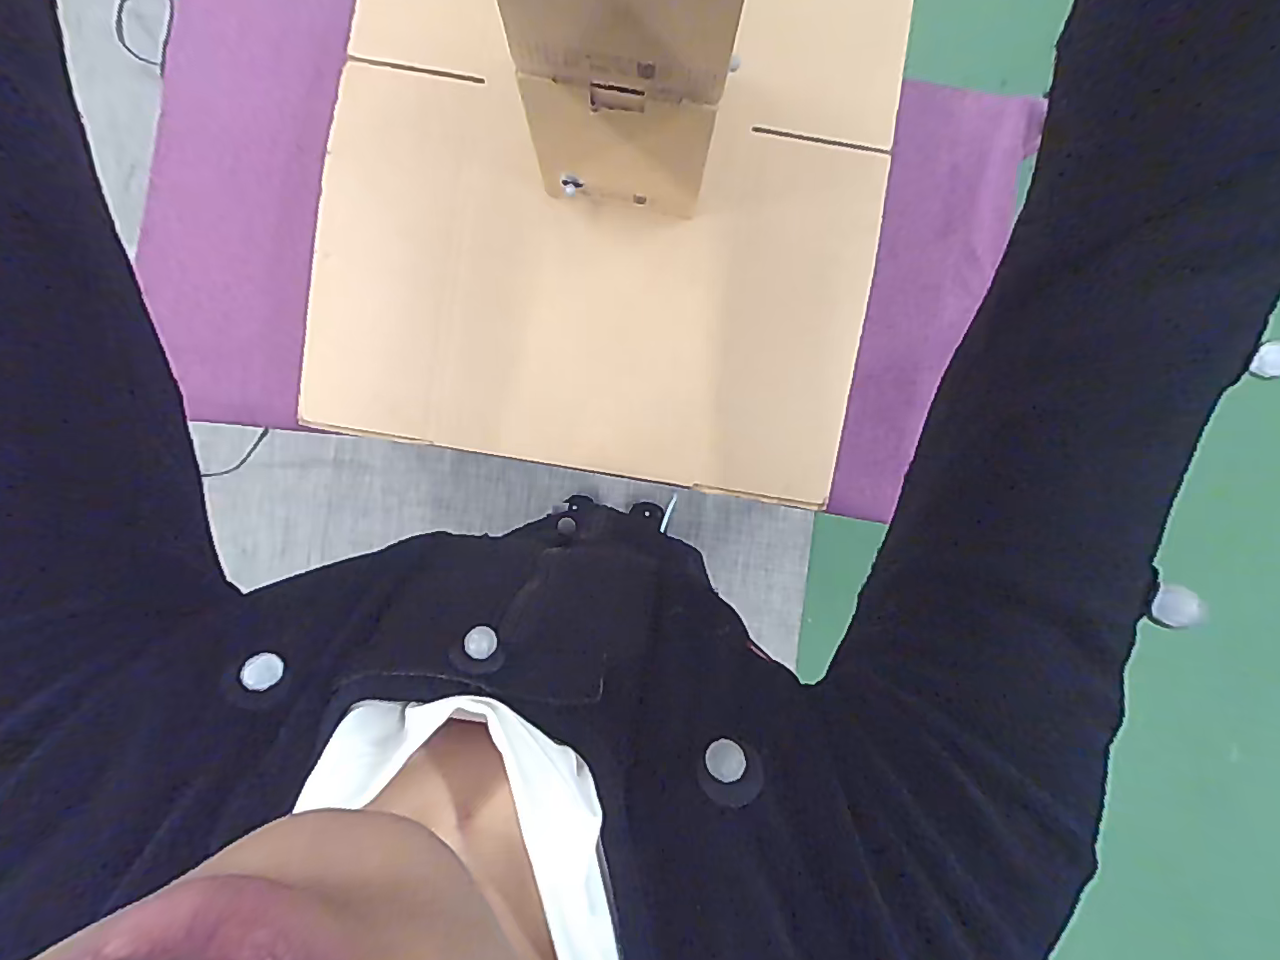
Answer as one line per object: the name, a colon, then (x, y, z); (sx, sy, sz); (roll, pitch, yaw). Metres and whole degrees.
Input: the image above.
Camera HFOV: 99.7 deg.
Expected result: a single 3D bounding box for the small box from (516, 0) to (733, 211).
small box: (-0.007, -0.389, 0.515); (0.168, 0.176, 0.179); (9, 86, -1)
